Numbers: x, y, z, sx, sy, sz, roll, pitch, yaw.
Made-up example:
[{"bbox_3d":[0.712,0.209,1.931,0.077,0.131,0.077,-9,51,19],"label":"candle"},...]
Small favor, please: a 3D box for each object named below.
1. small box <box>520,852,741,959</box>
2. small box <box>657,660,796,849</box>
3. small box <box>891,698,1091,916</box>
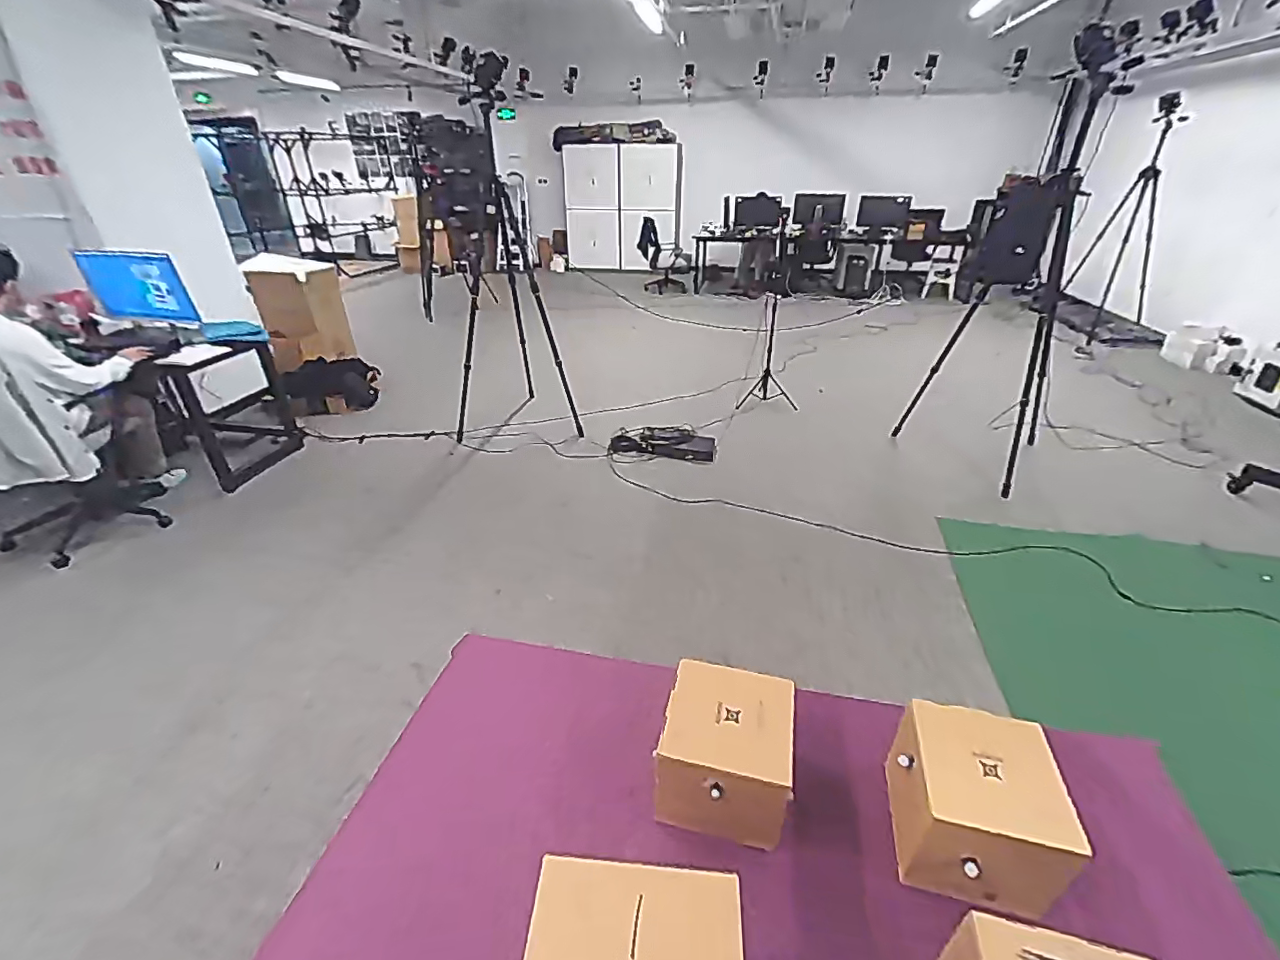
[{"bbox_3d":[-0.009,0.434,0.427,0.168,0.176,0.179,4,35,4],"label":"small box"},{"bbox_3d":[0.127,0.400,0.794,0.179,0.176,0.168,8,32,14],"label":"small box"},{"bbox_3d":[0.447,0.433,0.724,0.168,0.176,0.179,7,31,14],"label":"small box"}]
